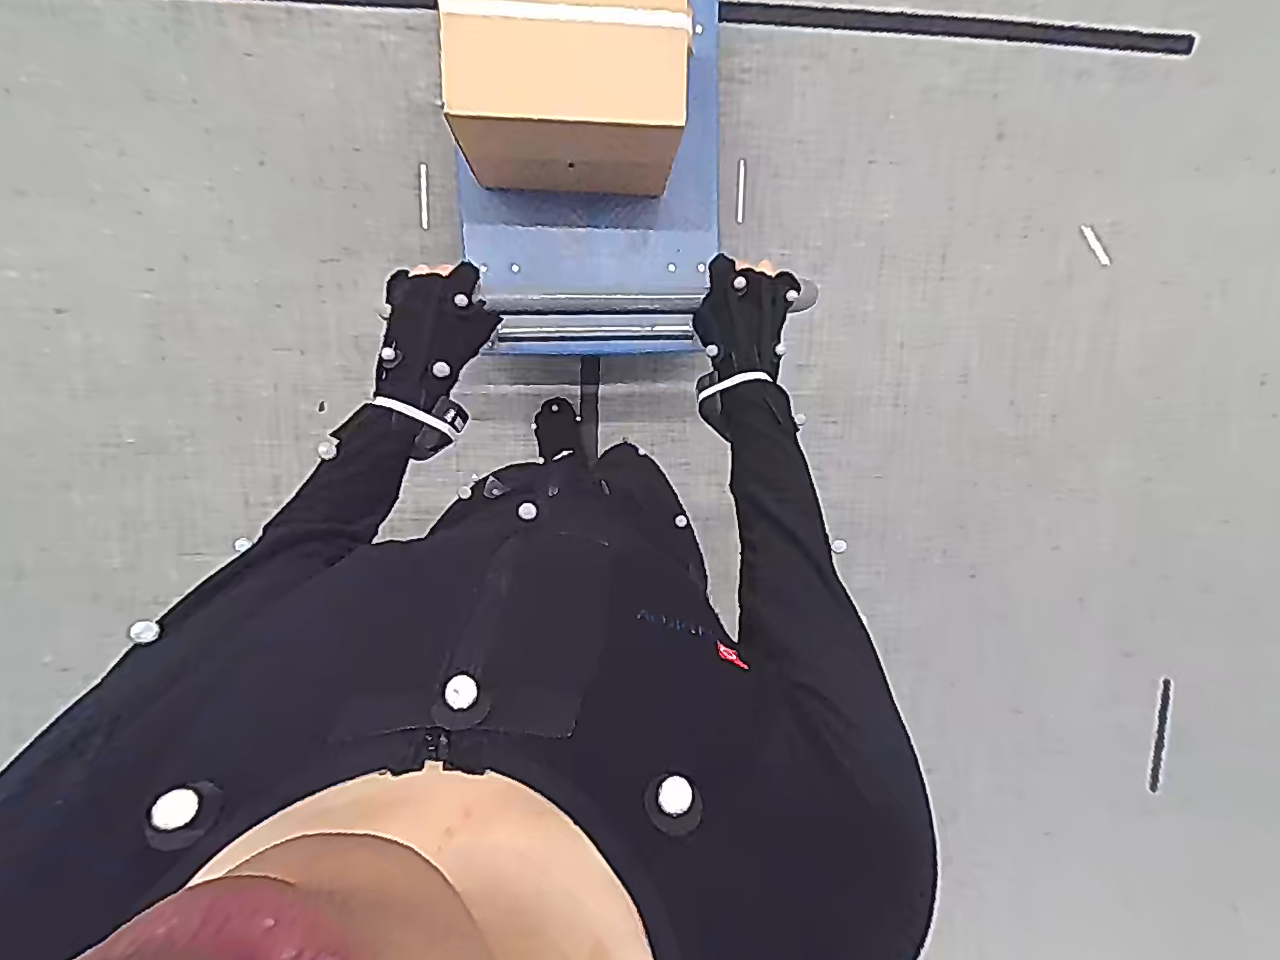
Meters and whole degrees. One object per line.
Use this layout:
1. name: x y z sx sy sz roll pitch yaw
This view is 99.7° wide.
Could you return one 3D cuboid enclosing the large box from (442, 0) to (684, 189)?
1. large box: -0.133 -0.780 1.039 0.408 0.320 0.320 0 98 -4
